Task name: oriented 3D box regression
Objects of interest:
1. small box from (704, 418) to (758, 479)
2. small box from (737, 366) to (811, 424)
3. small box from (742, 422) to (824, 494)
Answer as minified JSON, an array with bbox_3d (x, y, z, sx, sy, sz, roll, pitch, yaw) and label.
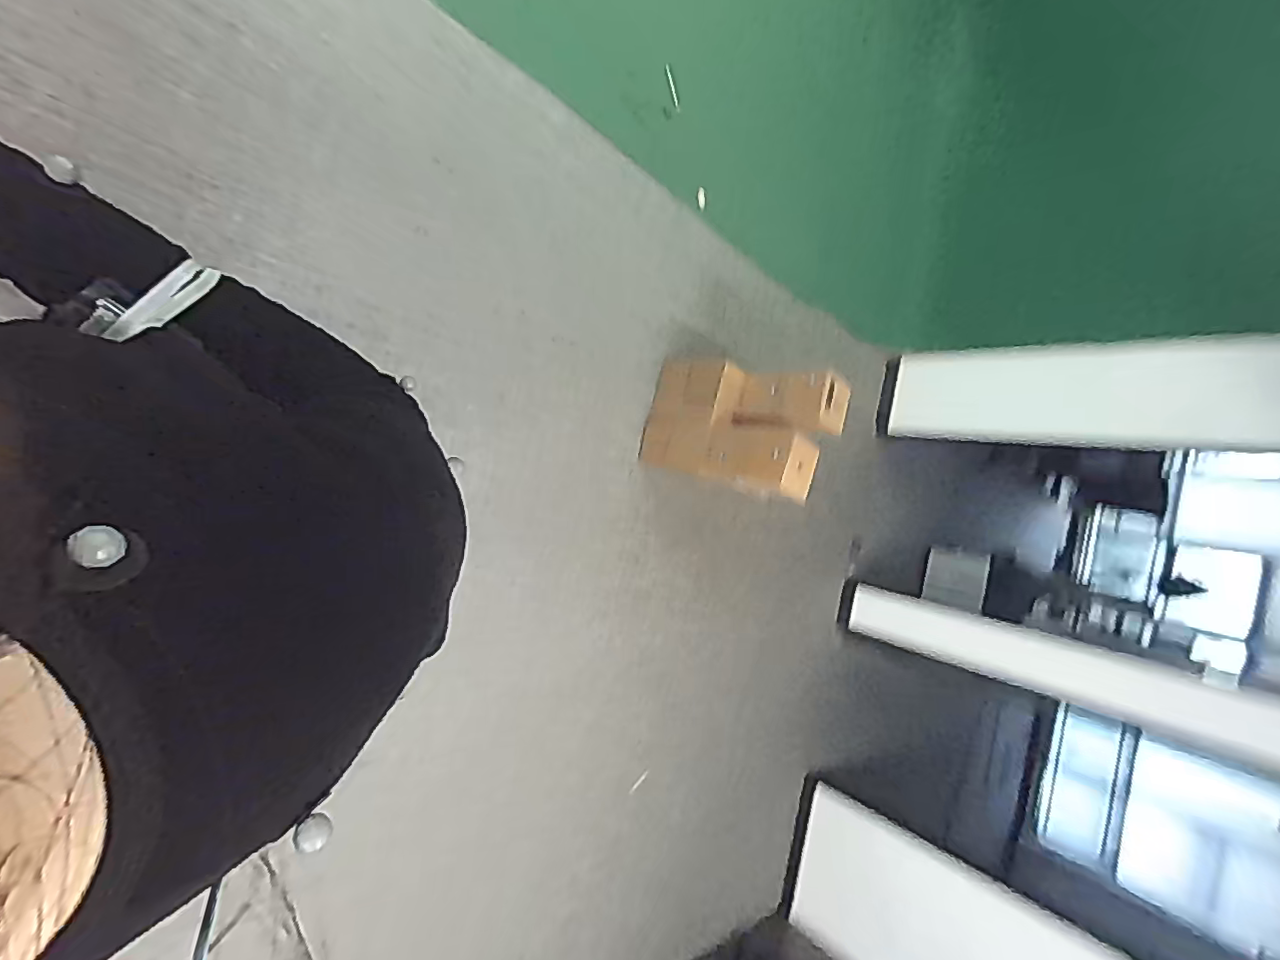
[{"bbox_3d":[0.345,-0.104,1.831,0.179,0.176,0.168,23,83,-44],"label":"small box"},{"bbox_3d":[0.475,-0.297,1.919,0.179,0.176,0.168,22,81,-44],"label":"small box"},{"bbox_3d":[0.446,-0.073,1.707,0.168,0.176,0.179,24,82,-43],"label":"small box"}]
